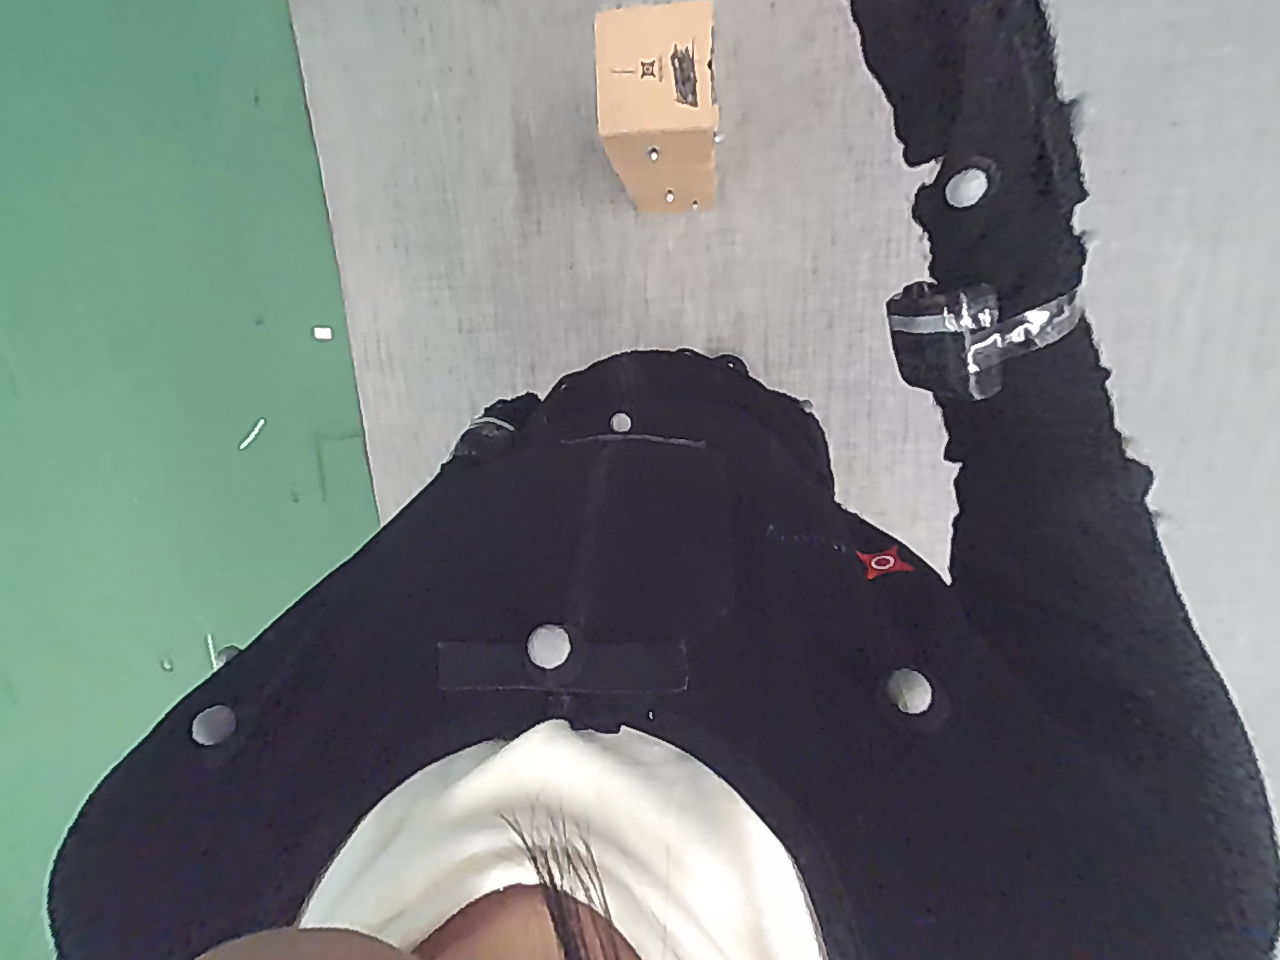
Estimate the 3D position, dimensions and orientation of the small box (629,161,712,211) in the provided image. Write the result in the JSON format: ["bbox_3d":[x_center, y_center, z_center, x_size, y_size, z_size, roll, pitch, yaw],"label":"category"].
[{"bbox_3d":[0.069,-0.707,1.190,0.179,0.176,0.168,-1,103,9],"label":"small box"}]

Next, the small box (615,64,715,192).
[{"bbox_3d":[0.050,-0.664,1.033,0.179,0.176,0.168,2,103,6],"label":"small box"}]

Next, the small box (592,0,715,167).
[{"bbox_3d":[0.027,-0.627,0.874,0.179,0.176,0.168,-2,103,6],"label":"small box"}]
